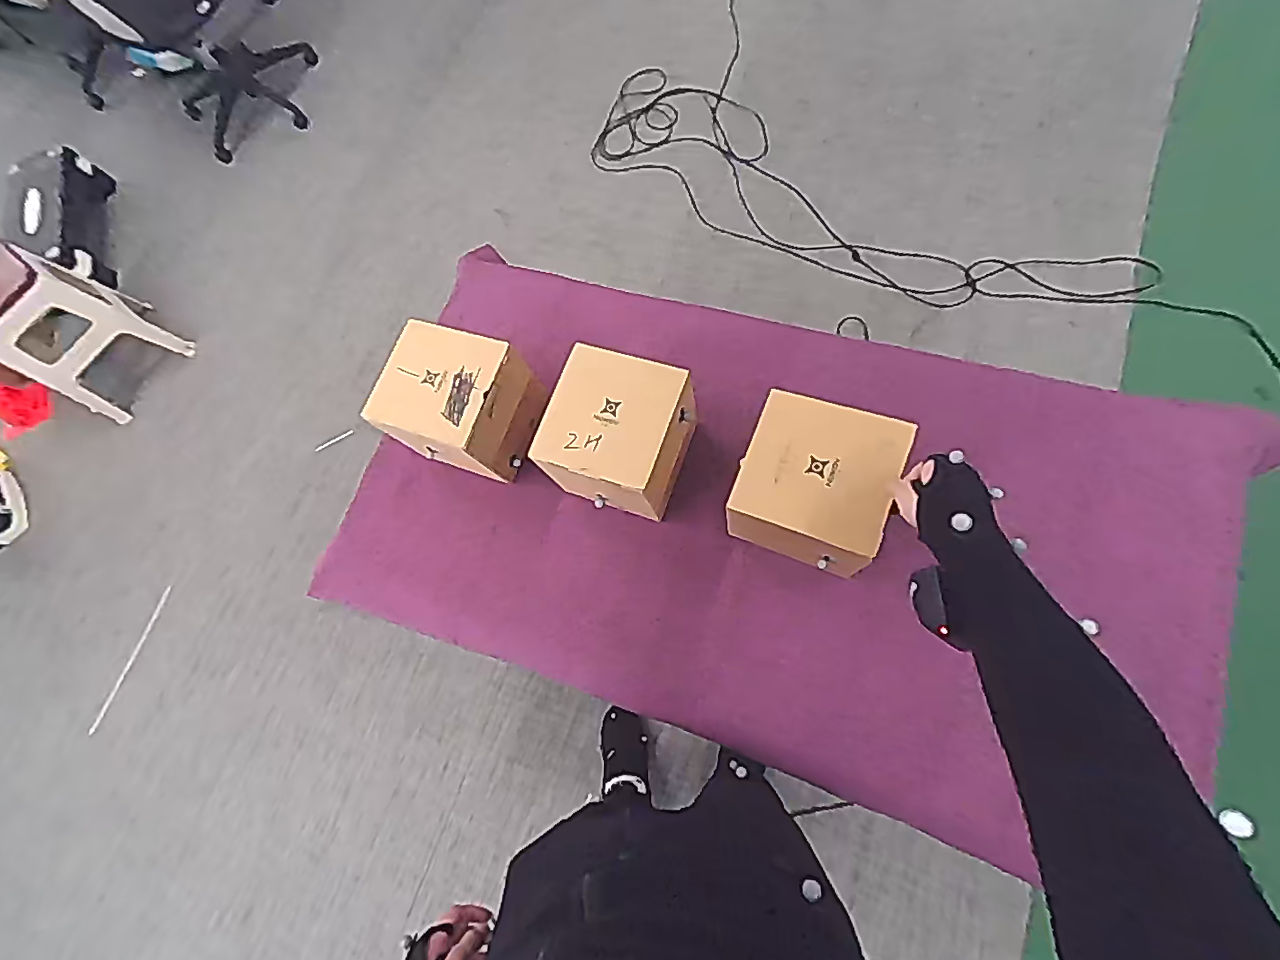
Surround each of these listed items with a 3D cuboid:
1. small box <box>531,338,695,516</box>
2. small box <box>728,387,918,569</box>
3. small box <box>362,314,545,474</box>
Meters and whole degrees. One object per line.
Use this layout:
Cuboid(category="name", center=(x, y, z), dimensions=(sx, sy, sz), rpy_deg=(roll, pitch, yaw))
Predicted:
Cuboid(category="small box", center=(-0.026, -0.067, 0.769), dimensions=(0.168, 0.176, 0.179), rpy_deg=(18, 78, 15))
Cuboid(category="small box", center=(0.226, 0.008, 0.705), dimensions=(0.179, 0.176, 0.168), rpy_deg=(20, 78, 15))
Cuboid(category="small box", center=(-0.269, -0.121, 0.825), dimensions=(0.179, 0.176, 0.168), rpy_deg=(17, 77, 15))
